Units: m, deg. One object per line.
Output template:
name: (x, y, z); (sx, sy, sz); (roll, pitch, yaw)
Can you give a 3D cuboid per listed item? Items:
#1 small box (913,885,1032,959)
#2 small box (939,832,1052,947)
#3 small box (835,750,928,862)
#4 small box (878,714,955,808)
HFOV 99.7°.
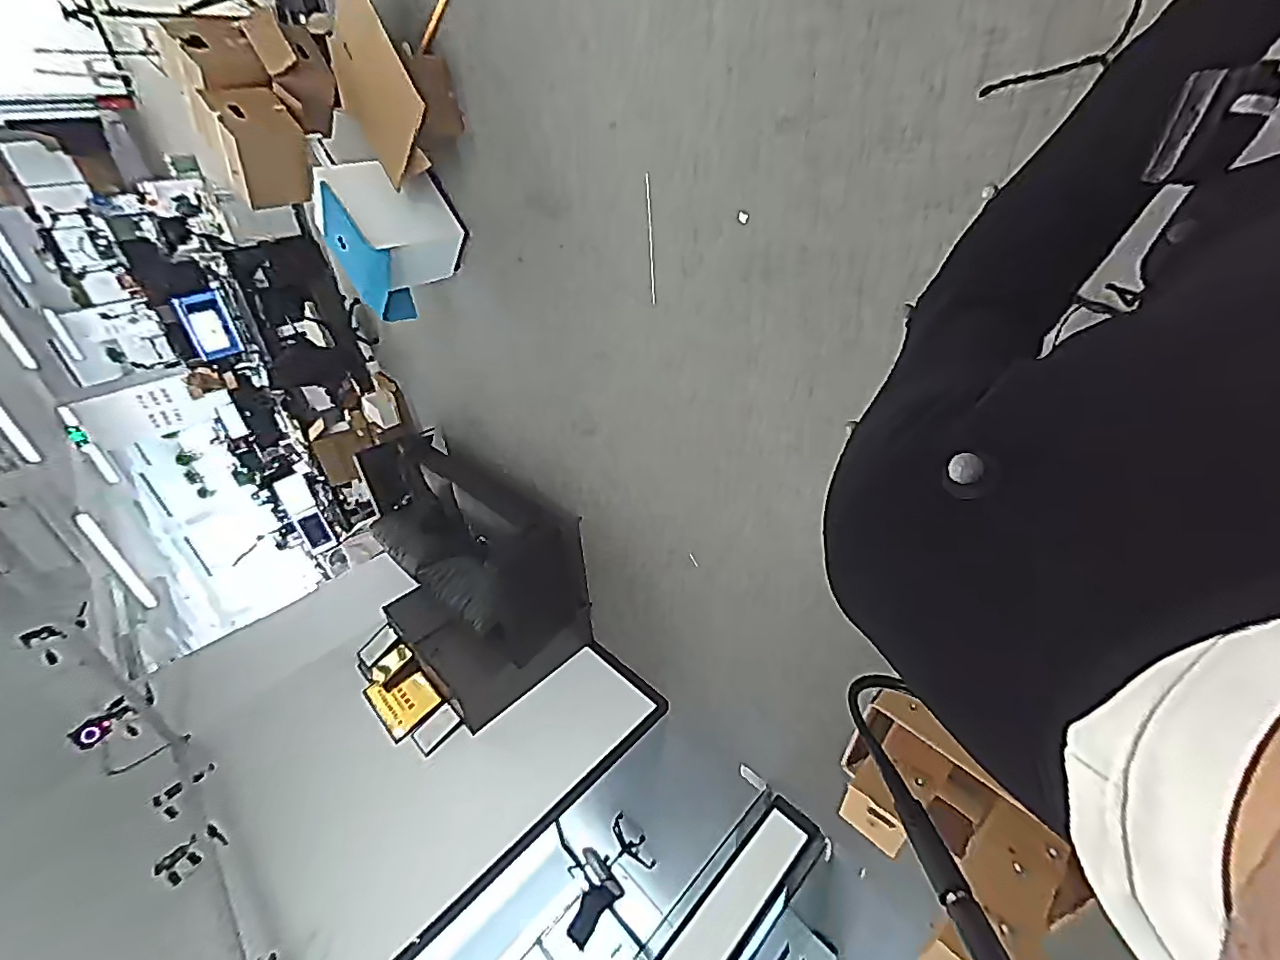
small box: (0.764, 1.095, 1.246); (0.168, 0.176, 0.179); (29, 135, 35)
small box: (0.881, 1.029, 1.340); (0.168, 0.176, 0.179); (29, 135, 36)
small box: (0.674, 0.899, 1.507); (0.168, 0.176, 0.179); (30, 135, 37)
small box: (0.798, 0.841, 1.600); (0.168, 0.176, 0.179); (34, 137, 34)
